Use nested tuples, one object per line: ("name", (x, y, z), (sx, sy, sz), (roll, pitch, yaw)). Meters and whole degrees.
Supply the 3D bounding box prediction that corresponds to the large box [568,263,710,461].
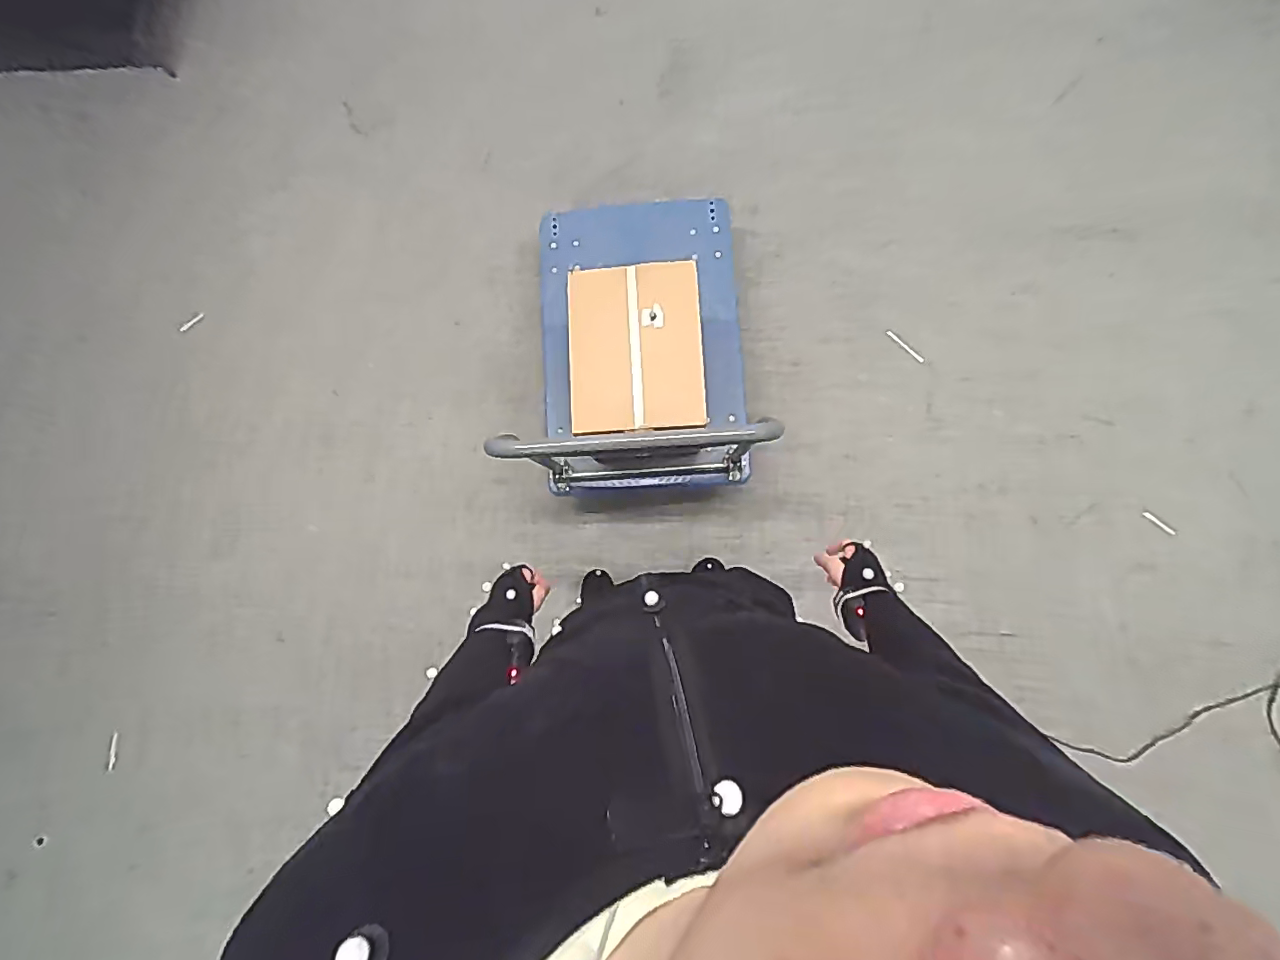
("large box", (0.006, -0.282, 1.401), (0.320, 0.320, 0.408), (-4, 80, 4))
